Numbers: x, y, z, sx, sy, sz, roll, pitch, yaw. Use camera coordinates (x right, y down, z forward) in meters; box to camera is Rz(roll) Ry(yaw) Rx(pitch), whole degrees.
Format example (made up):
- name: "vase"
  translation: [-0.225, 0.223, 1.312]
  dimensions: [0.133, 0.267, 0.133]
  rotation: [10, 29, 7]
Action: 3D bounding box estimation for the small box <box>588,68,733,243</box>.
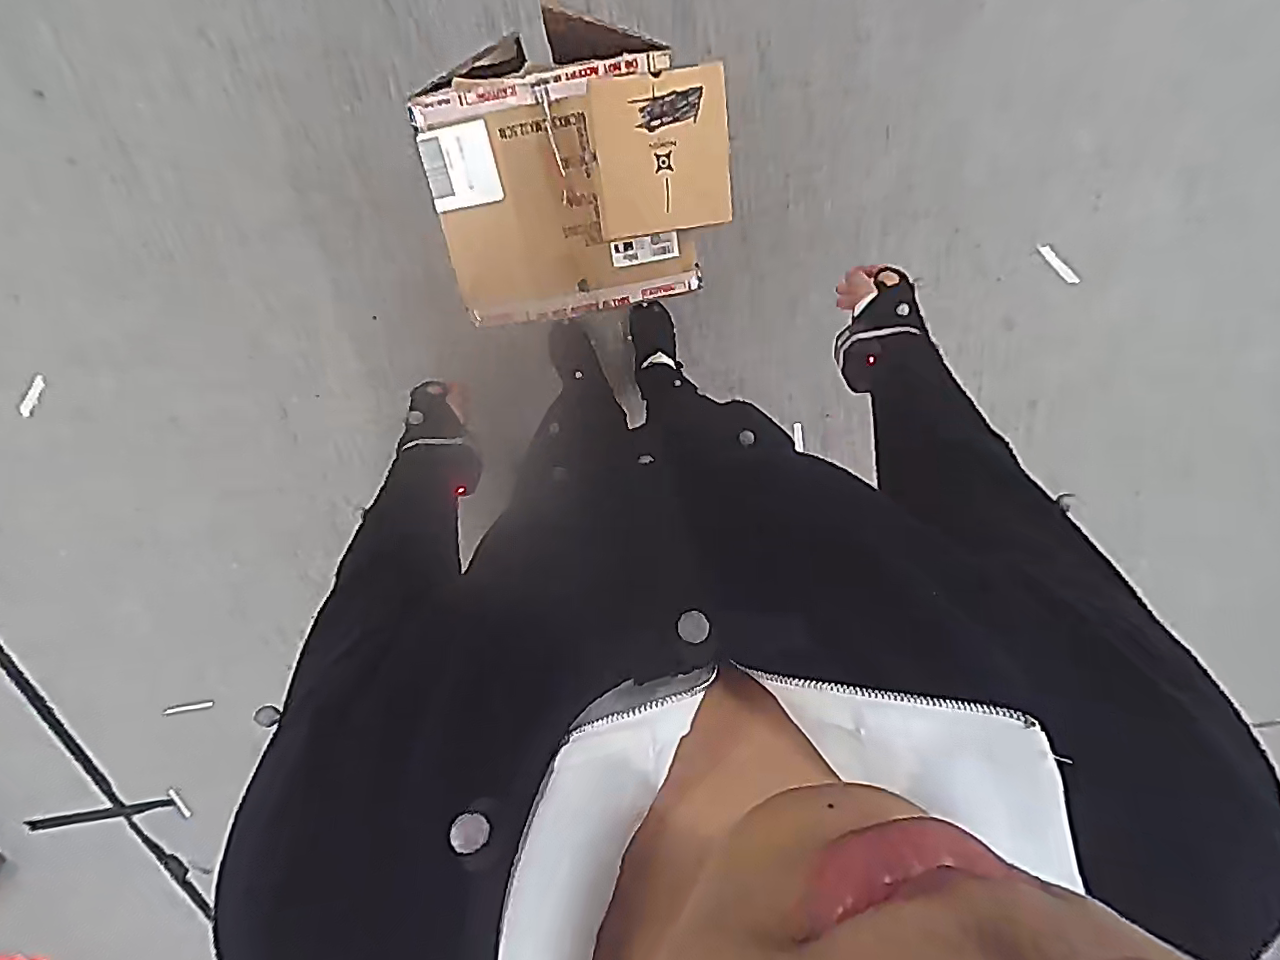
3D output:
- name: "small box"
  translation: [0.023, -0.430, 0.744]
  dimensions: [0.168, 0.176, 0.179]
  rotation: [-9, 115, -2]
